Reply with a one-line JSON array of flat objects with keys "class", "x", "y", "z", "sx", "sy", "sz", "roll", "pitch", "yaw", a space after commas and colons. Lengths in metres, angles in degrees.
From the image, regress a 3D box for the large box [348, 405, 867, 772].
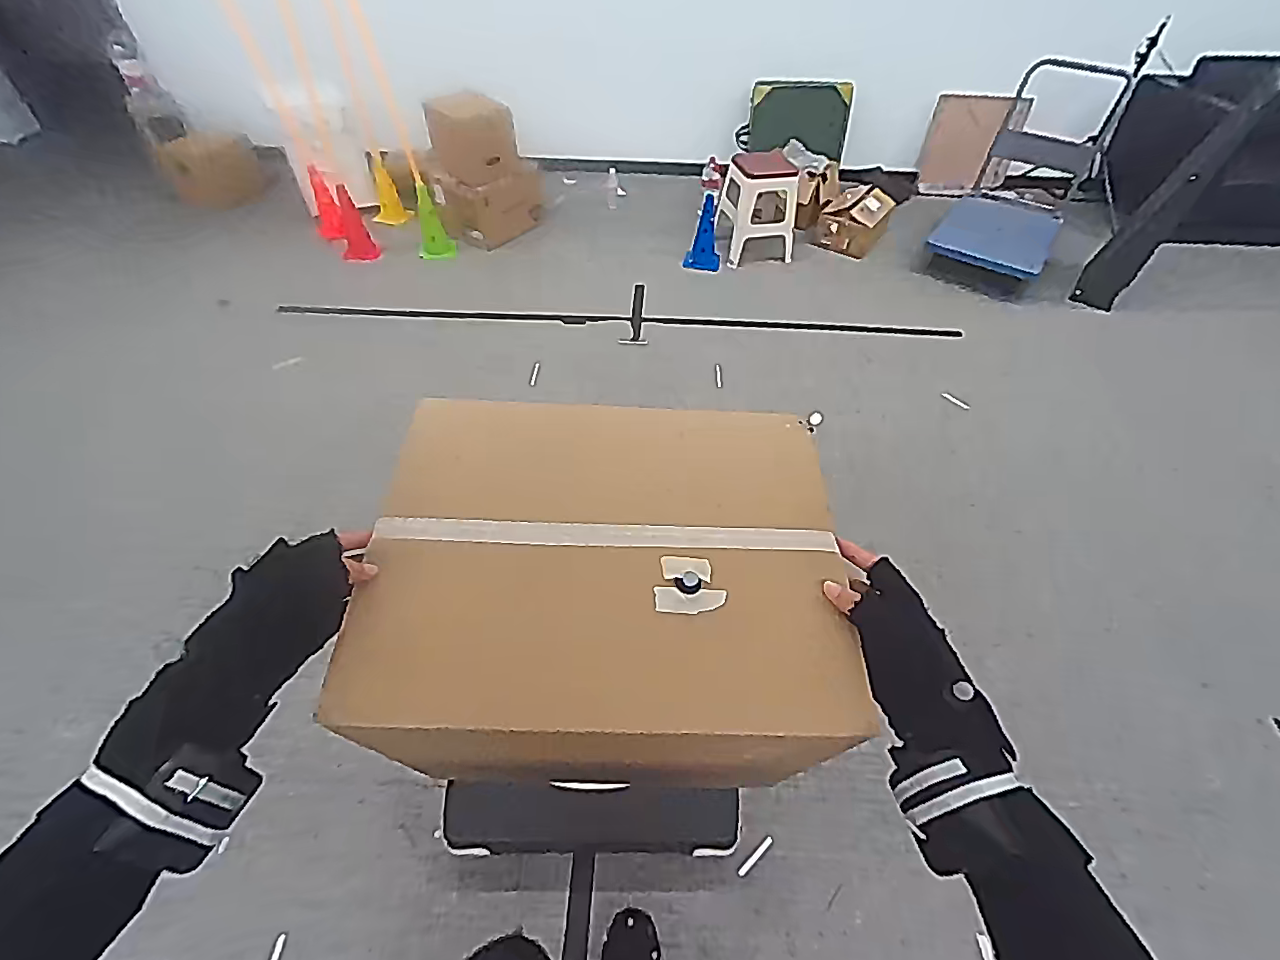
[{"class": "large box", "x": -0.031, "y": 0.136, "z": 0.613, "sx": 0.408, "sy": 0.320, "sz": 0.320, "roll": 2, "pitch": 56, "yaw": -3}]
